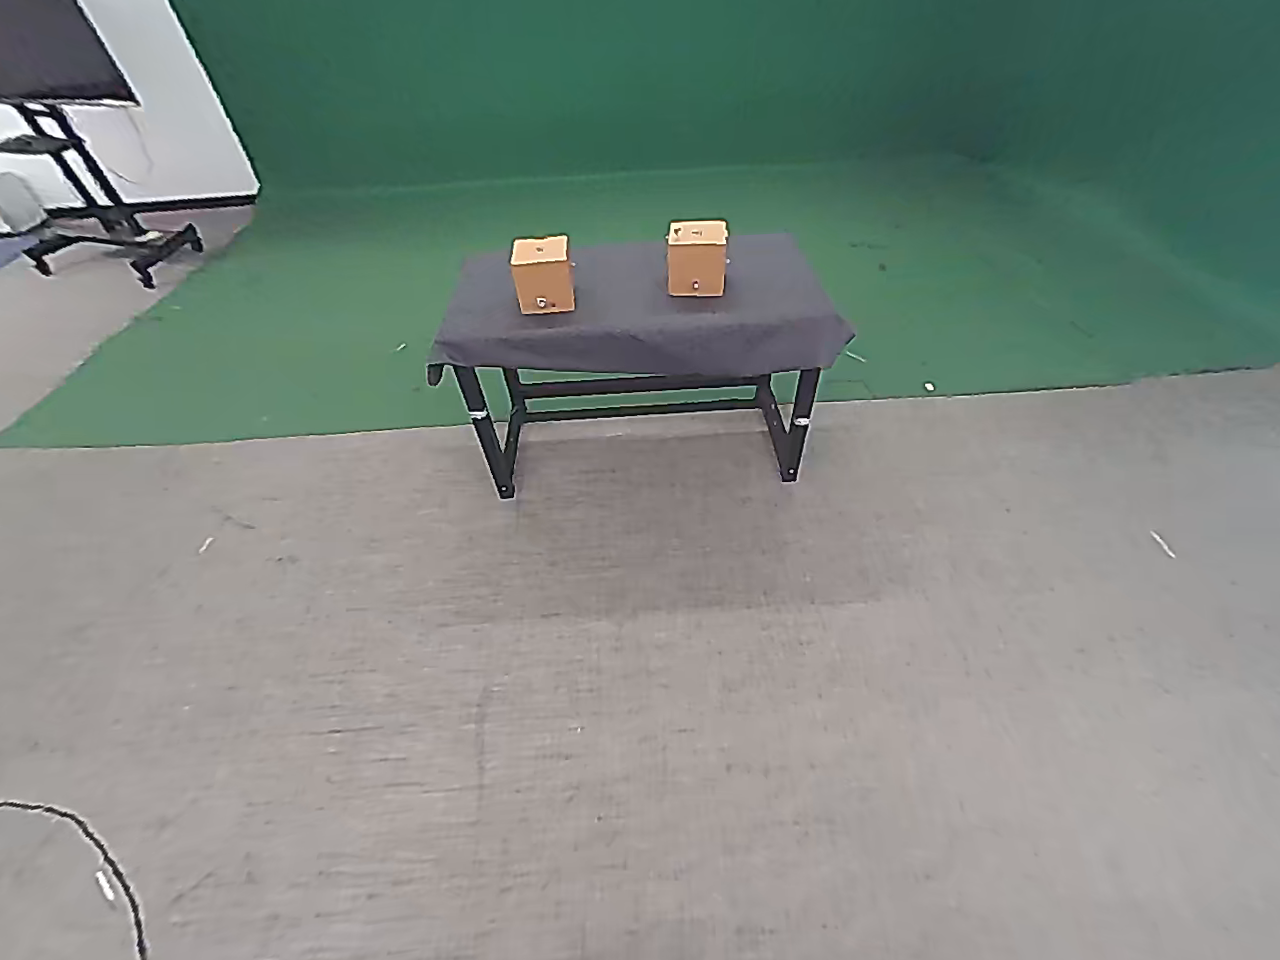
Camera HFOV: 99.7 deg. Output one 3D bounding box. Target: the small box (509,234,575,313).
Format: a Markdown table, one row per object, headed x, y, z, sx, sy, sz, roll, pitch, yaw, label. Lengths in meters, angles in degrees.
| x | y | z | sx | sy | sz | roll | pitch | yaw | label |
| --- | --- | --- | --- | --- | --- | --- | --- | --- | --- |
| -0.298 | -0.641 | 1.681 | 0.168 | 0.176 | 0.179 | -5 | 46 | 1 | small box |

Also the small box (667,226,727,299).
| x | y | z | sx | sy | sz | roll | pitch | yaw | label |
| --- | --- | --- | --- | --- | --- | --- | --- | --- | --- |
| 0.181 | -0.690 | 1.721 | 0.179 | 0.176 | 0.168 | 3 | 47 | 6 | small box |
